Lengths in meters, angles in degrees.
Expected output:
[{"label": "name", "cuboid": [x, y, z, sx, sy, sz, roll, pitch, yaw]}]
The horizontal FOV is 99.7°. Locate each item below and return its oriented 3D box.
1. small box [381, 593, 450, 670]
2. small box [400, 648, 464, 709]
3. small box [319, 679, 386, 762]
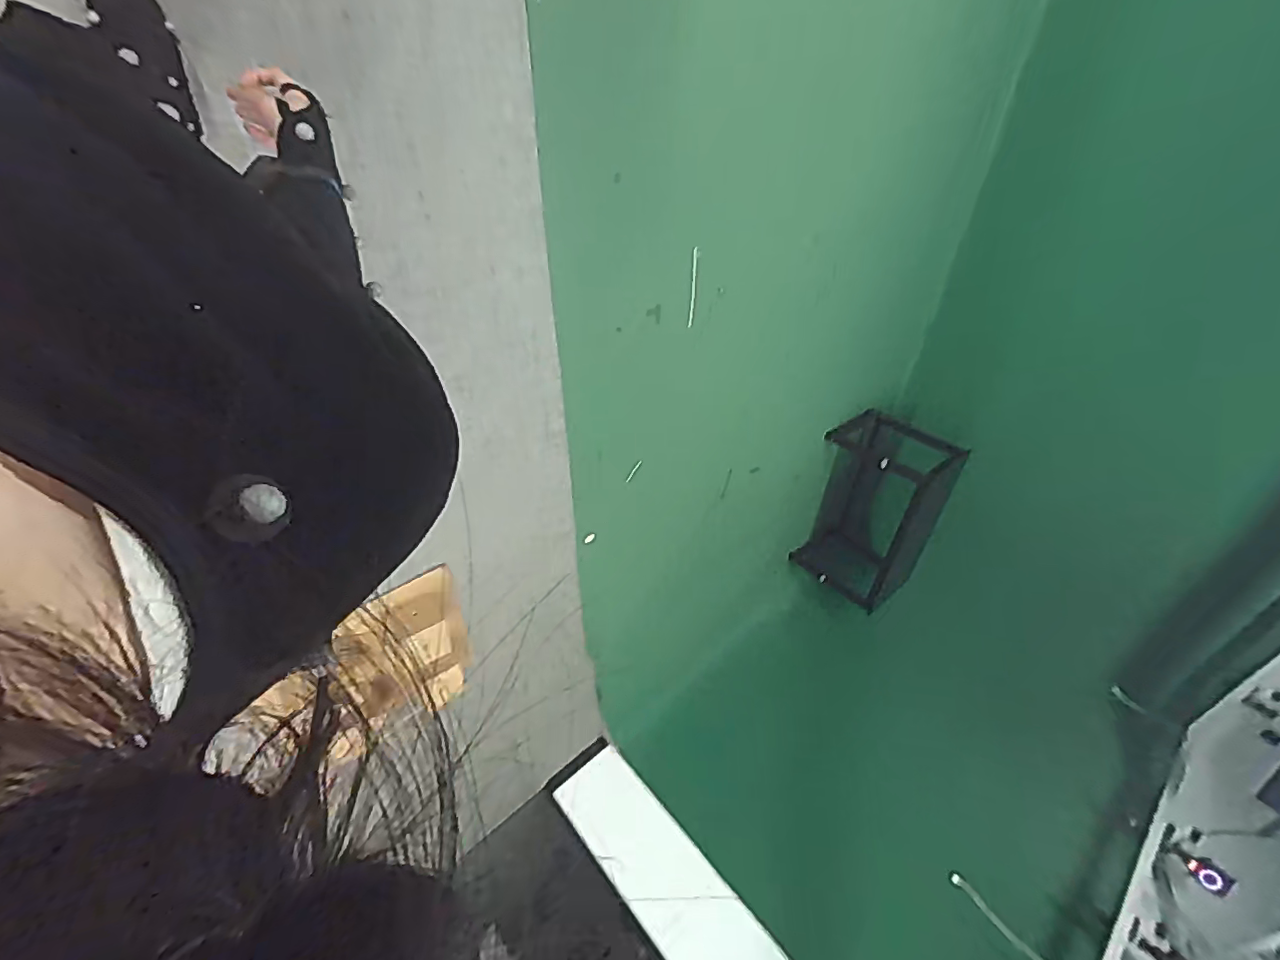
[{"label": "small box", "cuboid": [-0.800, 0.527, 1.922, 0.168, 0.176, 0.179, -23, 134, -34]}, {"label": "small box", "cuboid": [-0.805, 0.734, 2.087, 0.168, 0.176, 0.179, -27, 137, -32]}, {"label": "small box", "cuboid": [-1.027, 0.851, 1.927, 0.168, 0.176, 0.179, -11, 127, -44]}]
